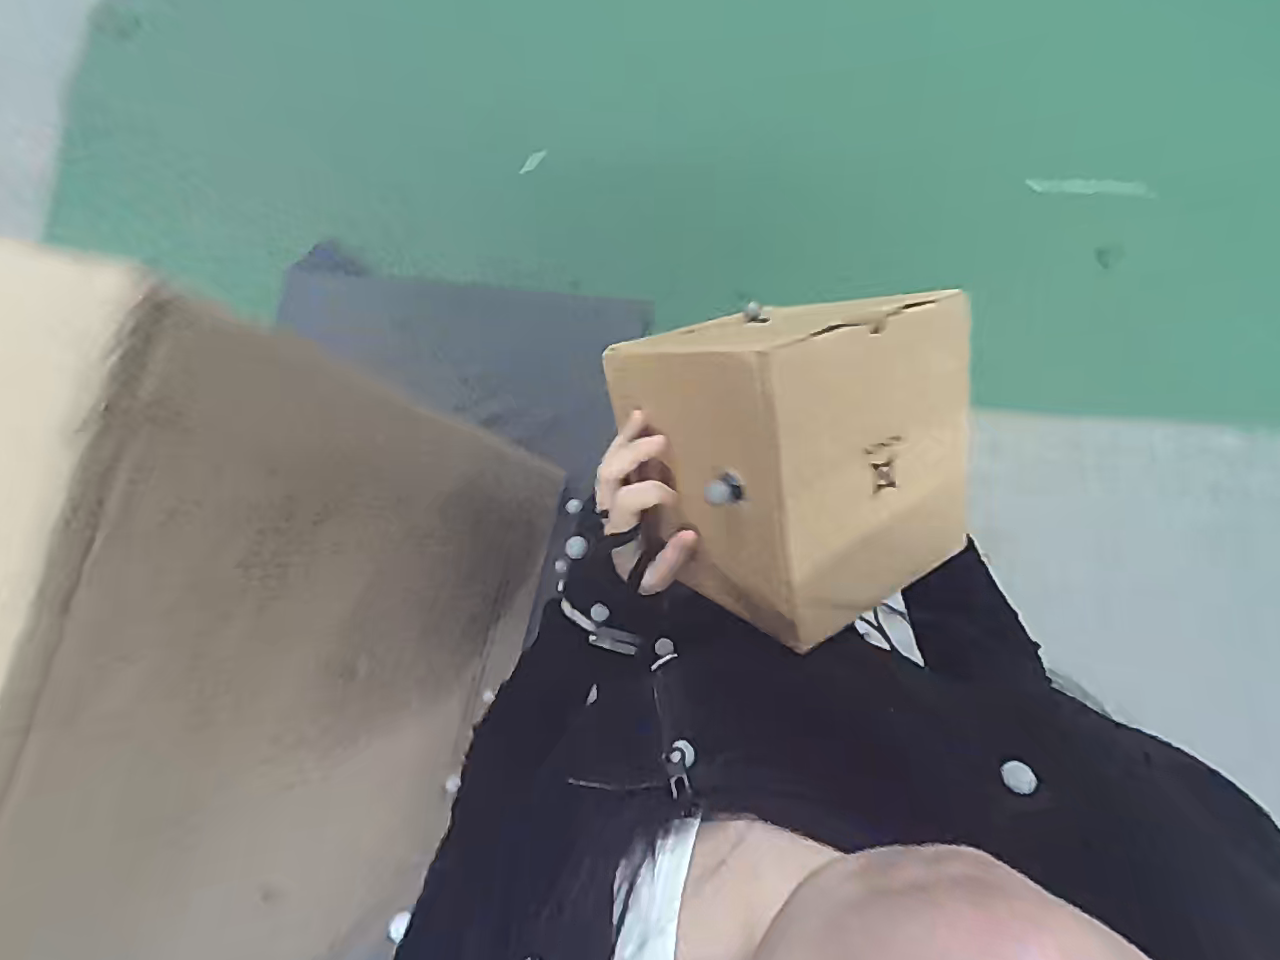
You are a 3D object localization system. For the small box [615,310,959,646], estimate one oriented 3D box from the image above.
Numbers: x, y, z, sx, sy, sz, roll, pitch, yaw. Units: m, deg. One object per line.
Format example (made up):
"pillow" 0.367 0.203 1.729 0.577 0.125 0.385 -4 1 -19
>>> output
"small box" 0.099 -0.018 0.394 0.168 0.176 0.179 -18 108 -25
